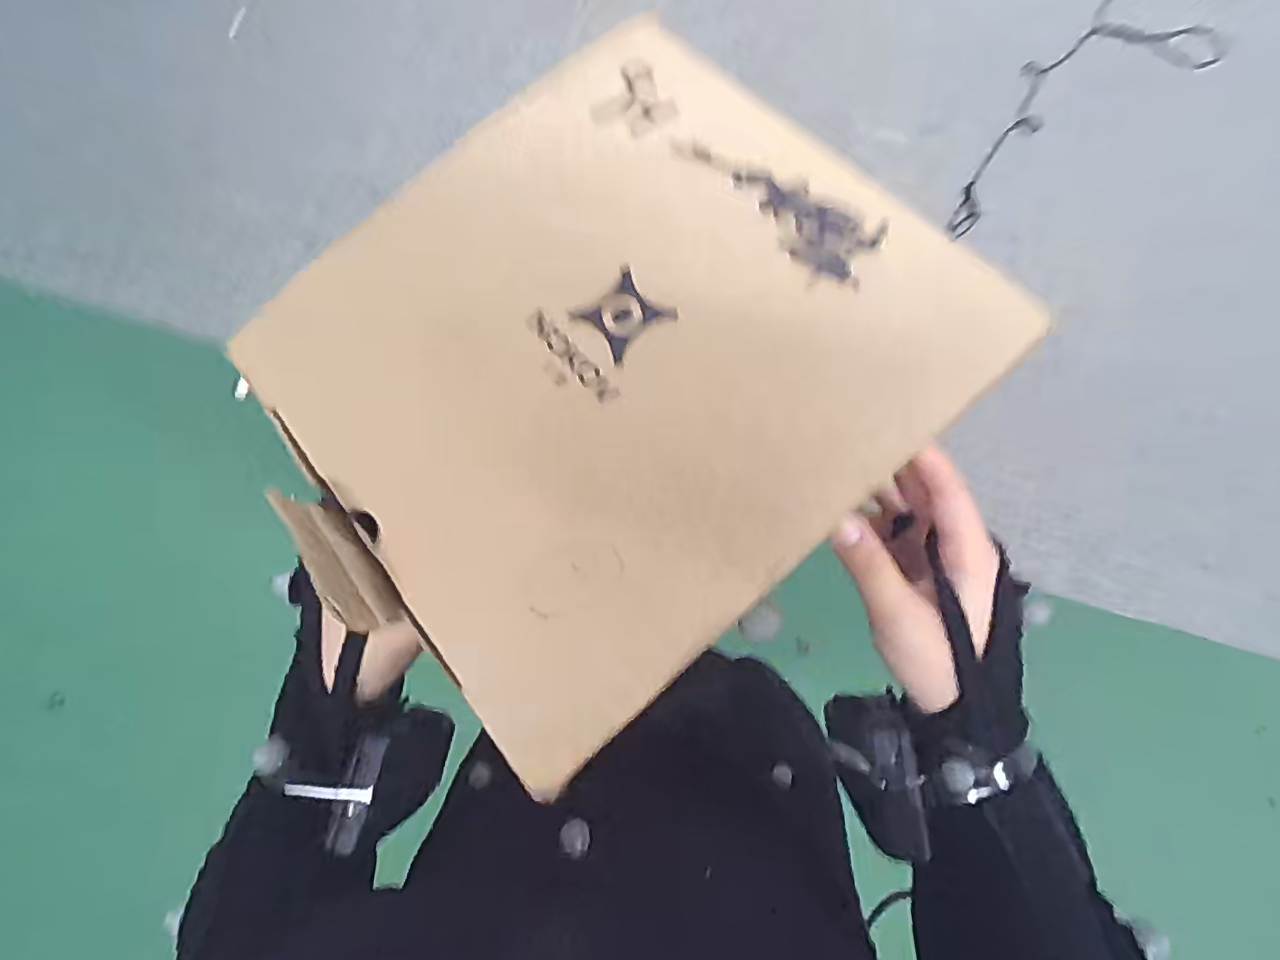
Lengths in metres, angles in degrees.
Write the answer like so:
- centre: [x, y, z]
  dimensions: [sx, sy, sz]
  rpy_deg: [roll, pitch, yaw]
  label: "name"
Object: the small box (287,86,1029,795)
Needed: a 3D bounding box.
- centre: [0.005, -0.009, 0.243]
  dimensions: [0.179, 0.176, 0.168]
  rpy_deg: [-41, 74, -5]
  label: "small box"
